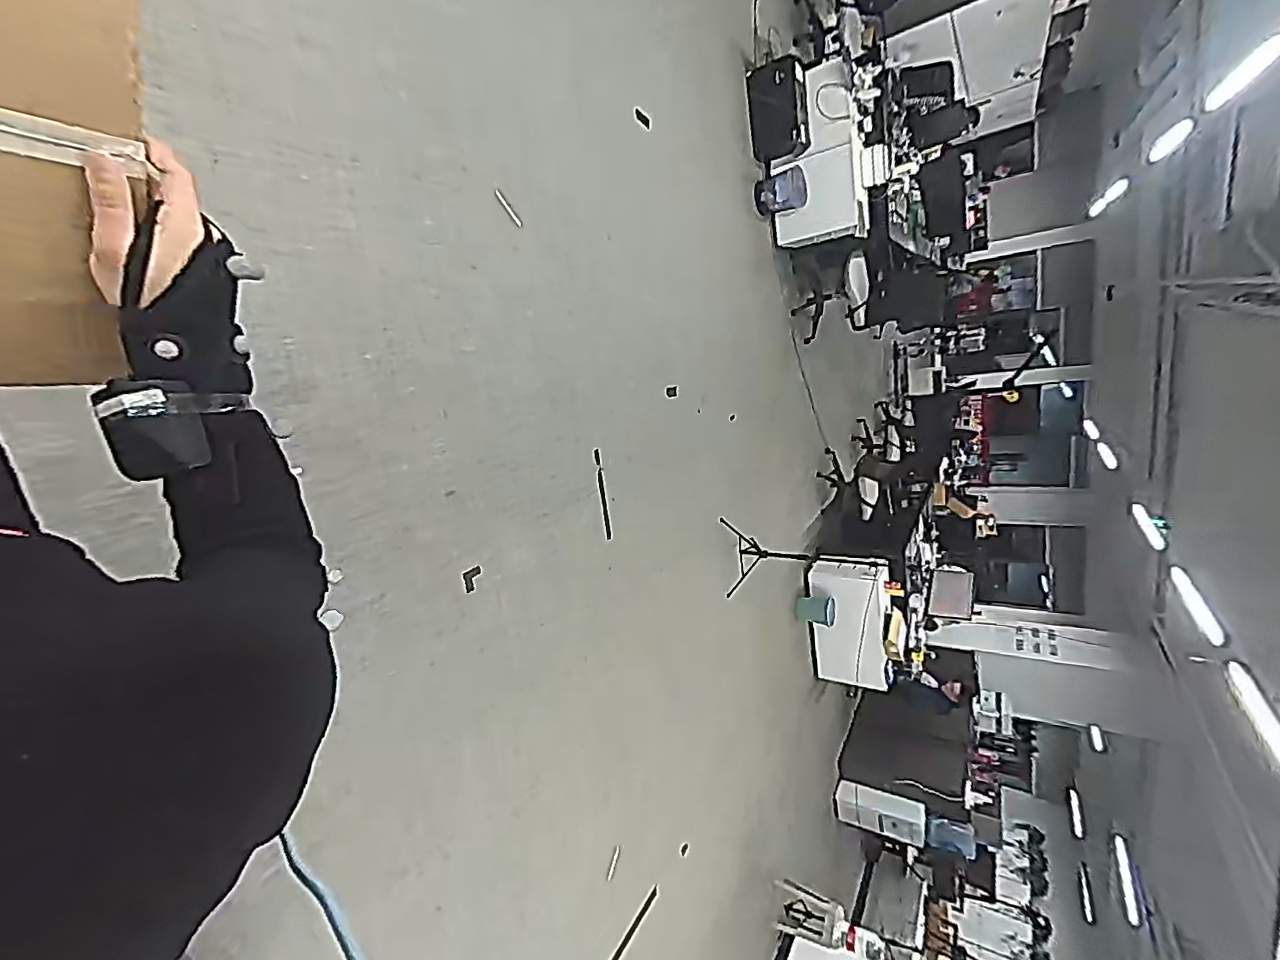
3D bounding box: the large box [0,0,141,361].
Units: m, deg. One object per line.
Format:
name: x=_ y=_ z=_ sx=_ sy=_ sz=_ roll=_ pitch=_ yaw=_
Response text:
large box: x=-0.545 y=-0.259 z=0.239 sx=0.408 sy=0.320 sz=0.320 roll=-19 pitch=141 yaw=-55
